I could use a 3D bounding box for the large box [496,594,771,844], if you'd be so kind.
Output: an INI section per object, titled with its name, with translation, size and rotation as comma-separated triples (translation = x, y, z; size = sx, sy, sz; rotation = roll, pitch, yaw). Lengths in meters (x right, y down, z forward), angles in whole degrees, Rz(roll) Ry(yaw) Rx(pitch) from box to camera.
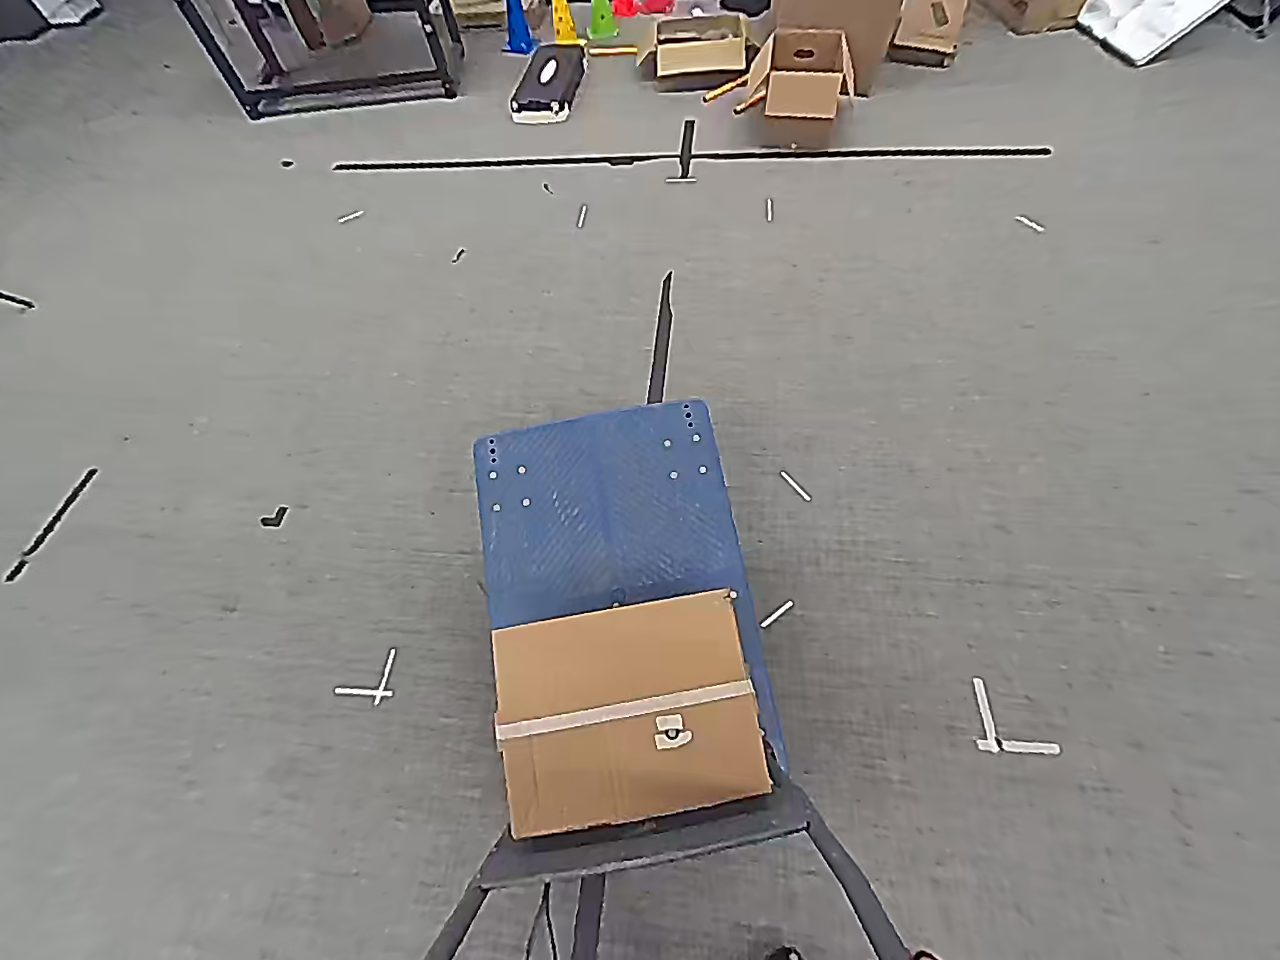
[large box]
translation = -0.017, 0.414, 1.010
size = 0.408, 0.320, 0.320
rotation = -10, 75, -2
